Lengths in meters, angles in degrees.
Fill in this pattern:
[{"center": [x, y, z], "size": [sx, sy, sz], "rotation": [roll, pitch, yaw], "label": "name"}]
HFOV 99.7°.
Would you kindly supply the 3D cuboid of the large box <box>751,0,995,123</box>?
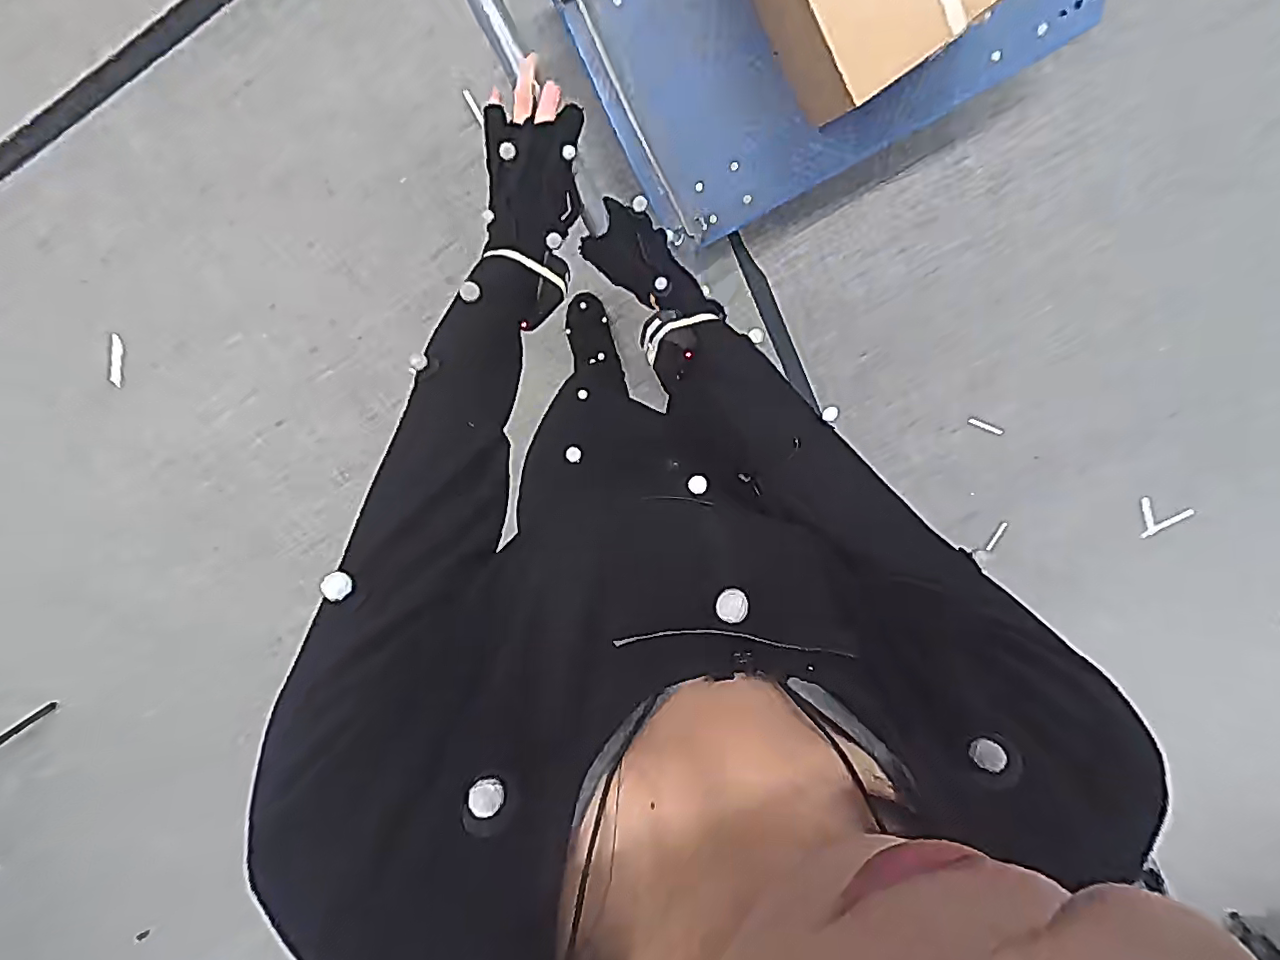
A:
[{"center": [0.345, -0.861, 0.838], "size": [0.320, 0.320, 0.408], "rotation": [-32, 112, 19], "label": "large box"}]
